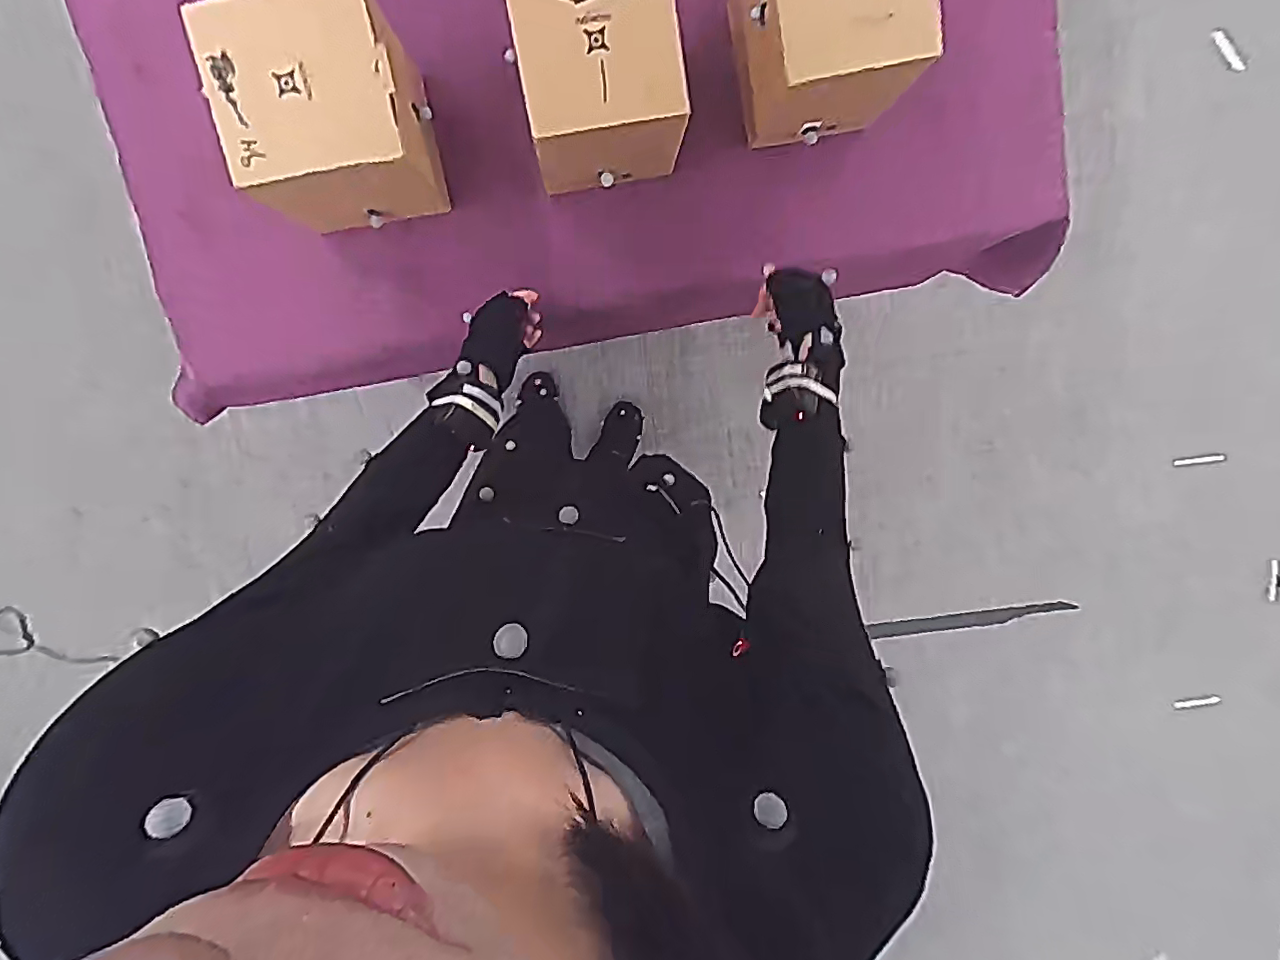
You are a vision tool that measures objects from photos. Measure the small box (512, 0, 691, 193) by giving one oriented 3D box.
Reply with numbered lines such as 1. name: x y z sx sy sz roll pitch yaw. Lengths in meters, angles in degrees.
1. small box: -0.046 -0.458 0.615 0.168 0.176 0.179 -10 100 -1

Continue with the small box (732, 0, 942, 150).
1. small box: 0.213 -0.520 0.623 0.168 0.176 0.179 -12 100 0
